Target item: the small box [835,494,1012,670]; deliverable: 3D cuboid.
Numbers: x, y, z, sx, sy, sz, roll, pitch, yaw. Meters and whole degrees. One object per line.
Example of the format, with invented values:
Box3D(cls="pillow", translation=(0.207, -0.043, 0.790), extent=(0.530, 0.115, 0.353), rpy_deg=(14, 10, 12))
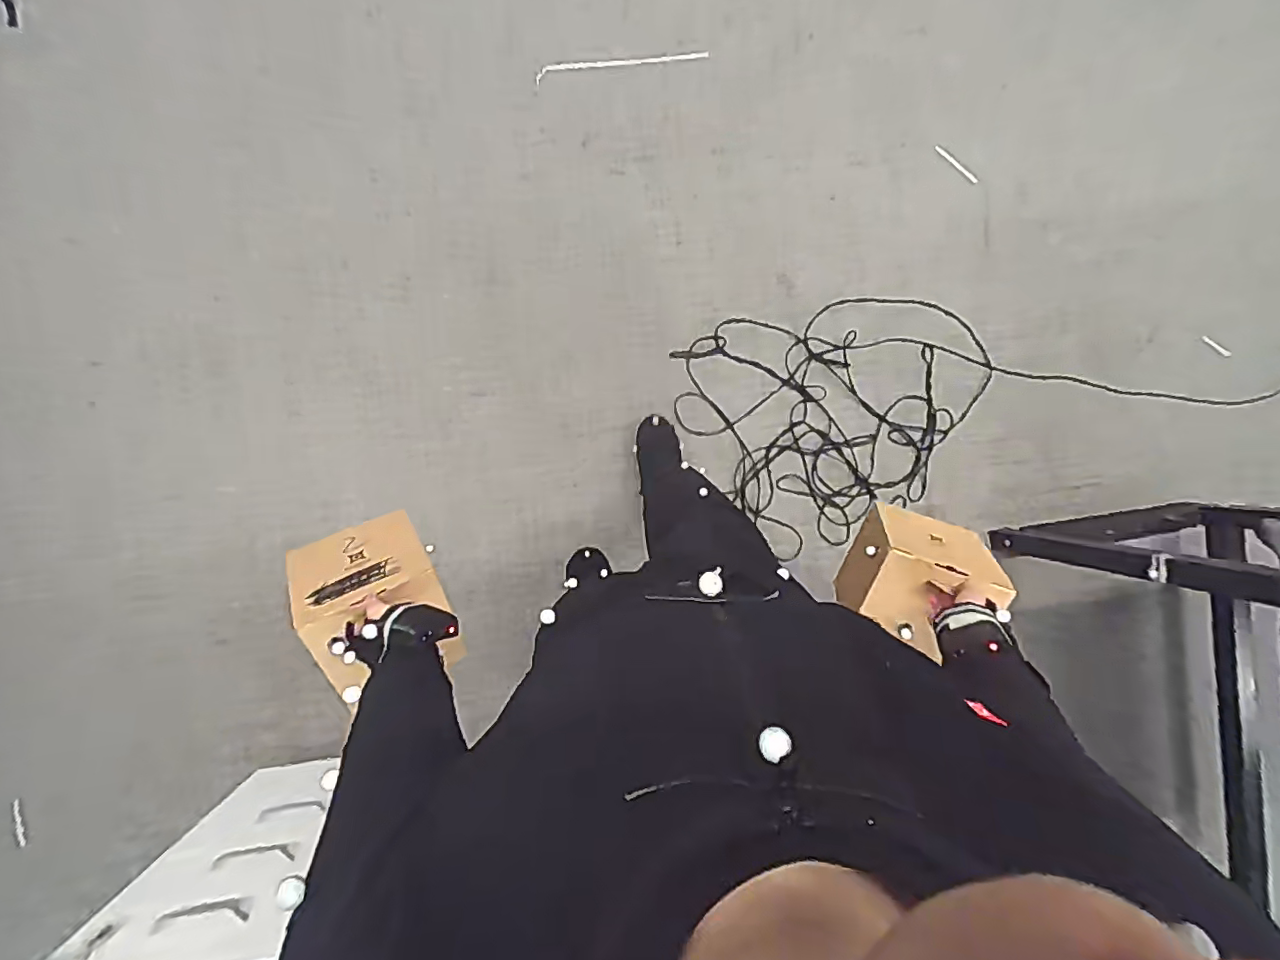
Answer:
Box3D(cls="small box", translation=(0.410, 0.149, 0.822), extent=(0.168, 0.179, 0.176), rpy_deg=(18, 113, 8))
